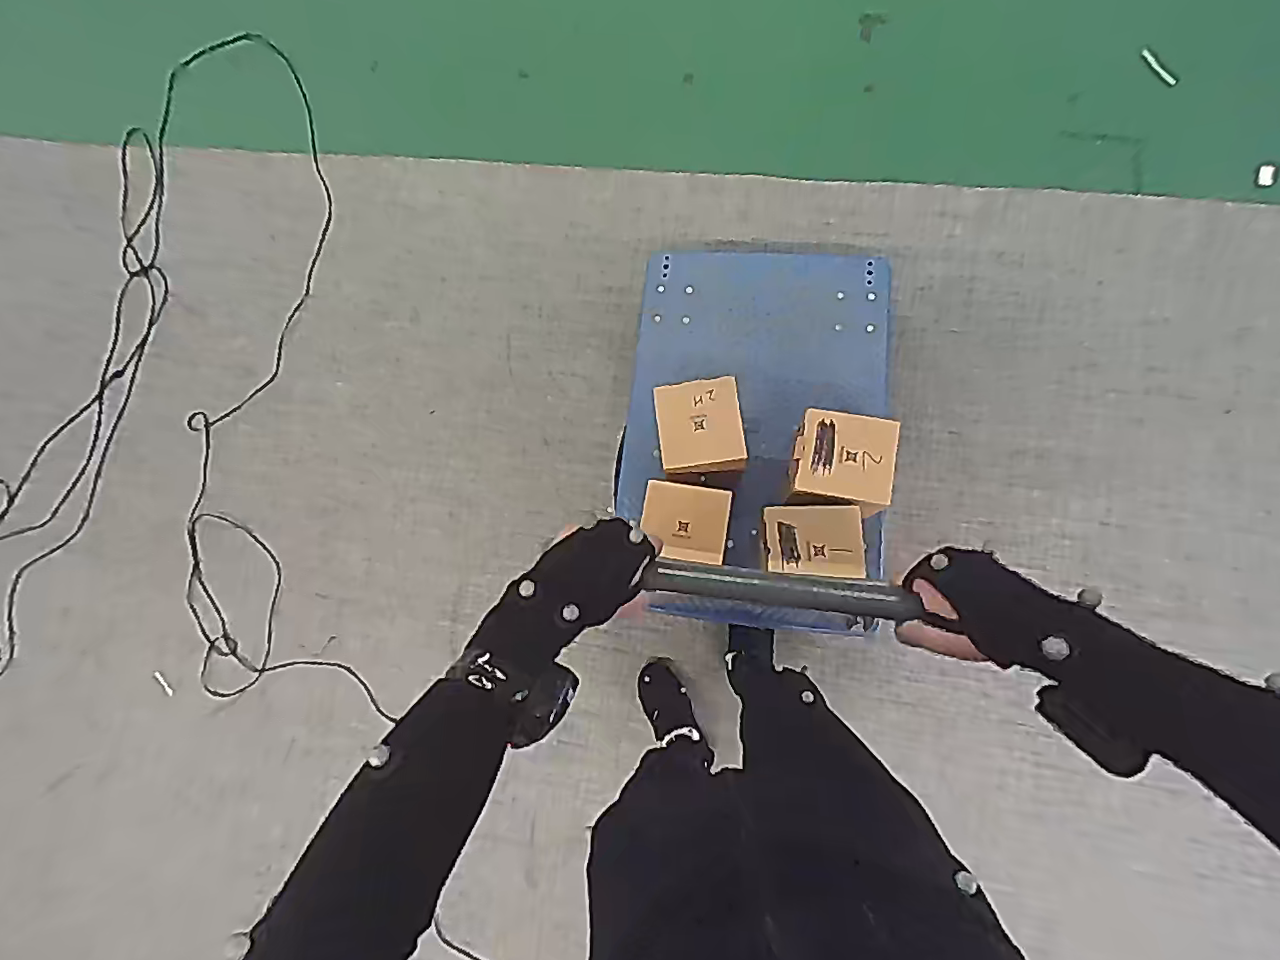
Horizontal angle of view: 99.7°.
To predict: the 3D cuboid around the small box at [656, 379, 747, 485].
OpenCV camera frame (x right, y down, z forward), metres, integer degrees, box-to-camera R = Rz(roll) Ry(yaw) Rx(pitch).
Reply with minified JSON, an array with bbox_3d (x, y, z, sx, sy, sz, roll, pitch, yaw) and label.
[{"bbox_3d":[0.129,-0.092,1.138,0.168,0.176,0.179,-7,76,5],"label":"small box"}]
